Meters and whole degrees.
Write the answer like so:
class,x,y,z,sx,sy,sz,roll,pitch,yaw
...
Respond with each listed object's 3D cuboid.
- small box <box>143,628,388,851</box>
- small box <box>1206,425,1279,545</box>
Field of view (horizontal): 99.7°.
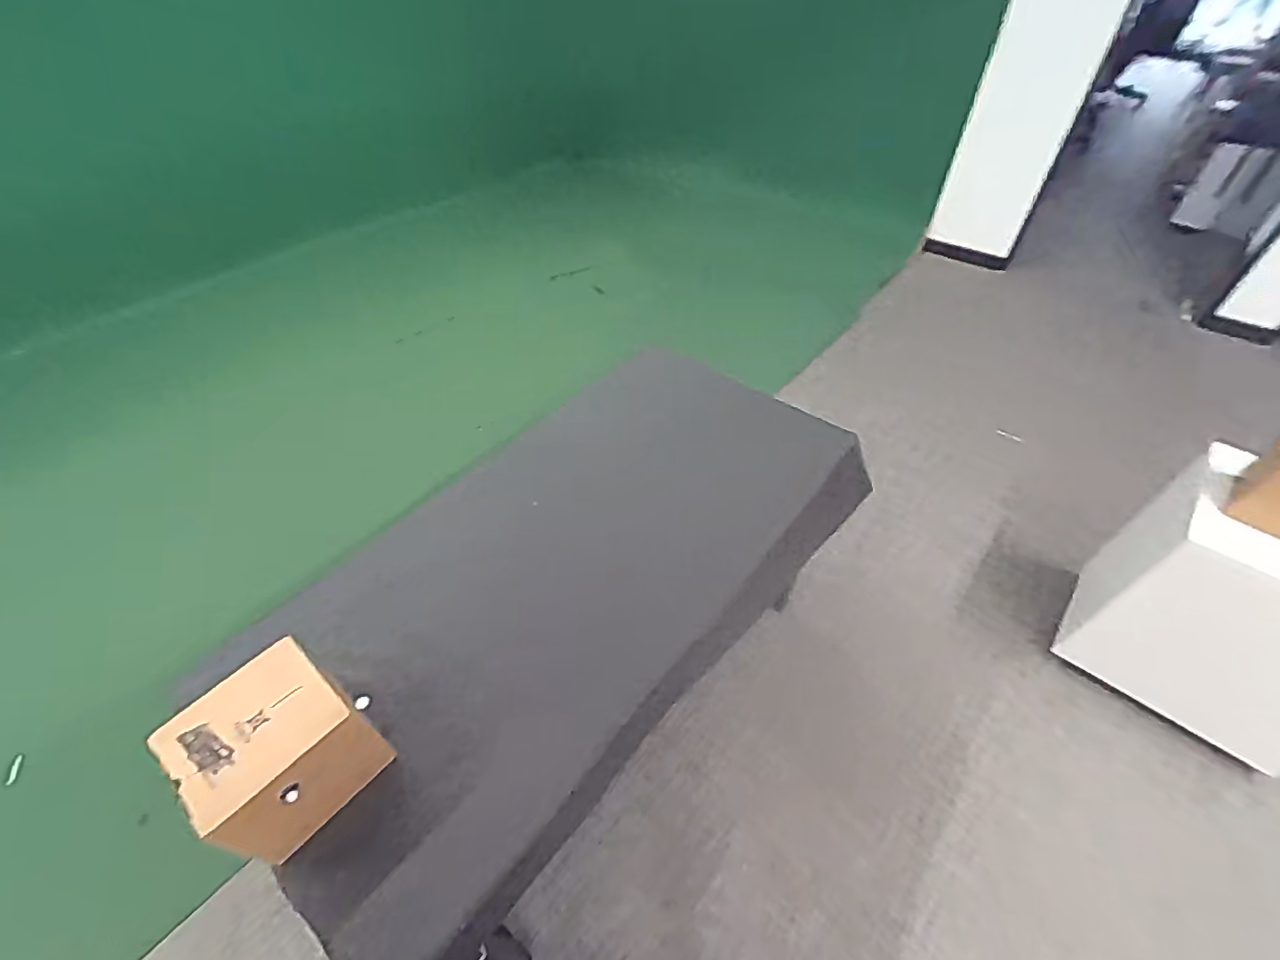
class,x,y,z,sx,sy,sz,roll,pitch,yaw
small box,-0.468,0.337,0.701,0.168,0.176,0.179,32,55,25
small box,1.394,0.020,1.161,0.179,0.176,0.168,34,55,27
